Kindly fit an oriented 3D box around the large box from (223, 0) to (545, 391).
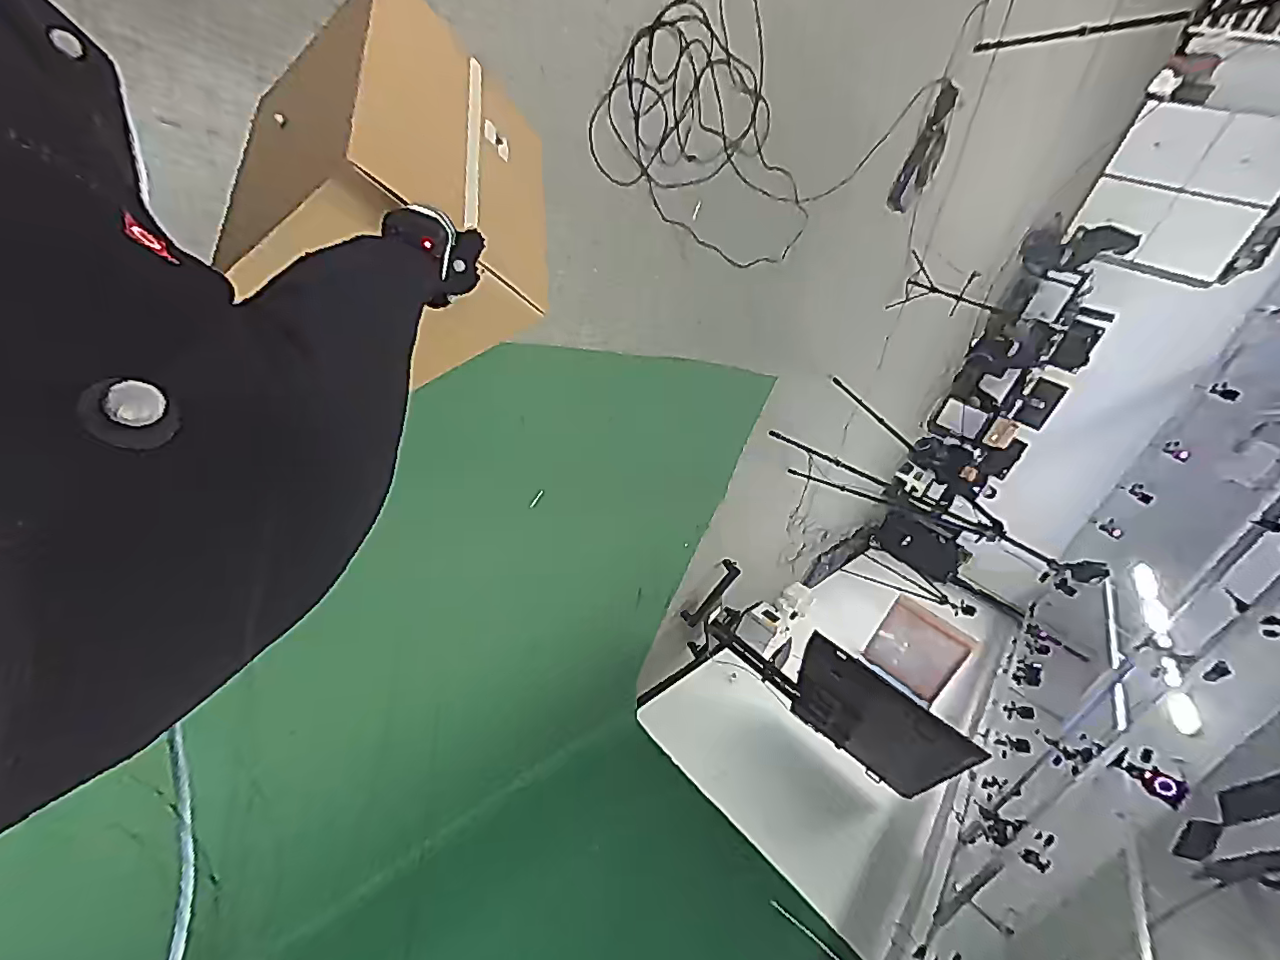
[{"bbox_3d":[-0.372,-0.414,0.836,0.320,0.408,0.320,-19,154,26],"label":"large box"}]
